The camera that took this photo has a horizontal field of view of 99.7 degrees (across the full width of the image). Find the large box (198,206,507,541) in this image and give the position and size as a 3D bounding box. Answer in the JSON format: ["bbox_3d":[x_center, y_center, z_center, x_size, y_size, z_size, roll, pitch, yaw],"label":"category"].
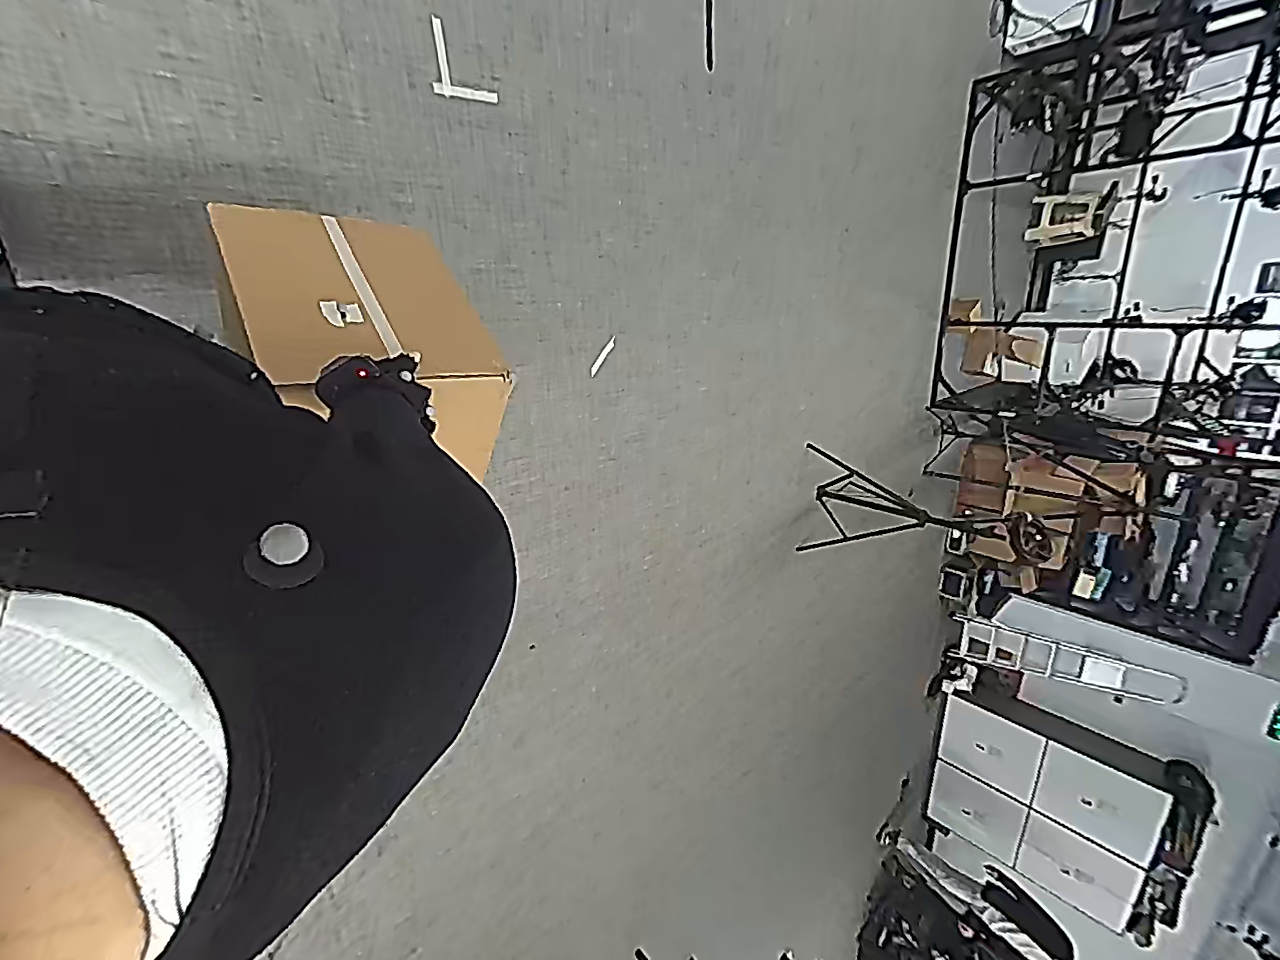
[{"bbox_3d":[-0.472,-0.173,0.881,0.320,0.408,0.320,-13,148,-37],"label":"large box"}]
